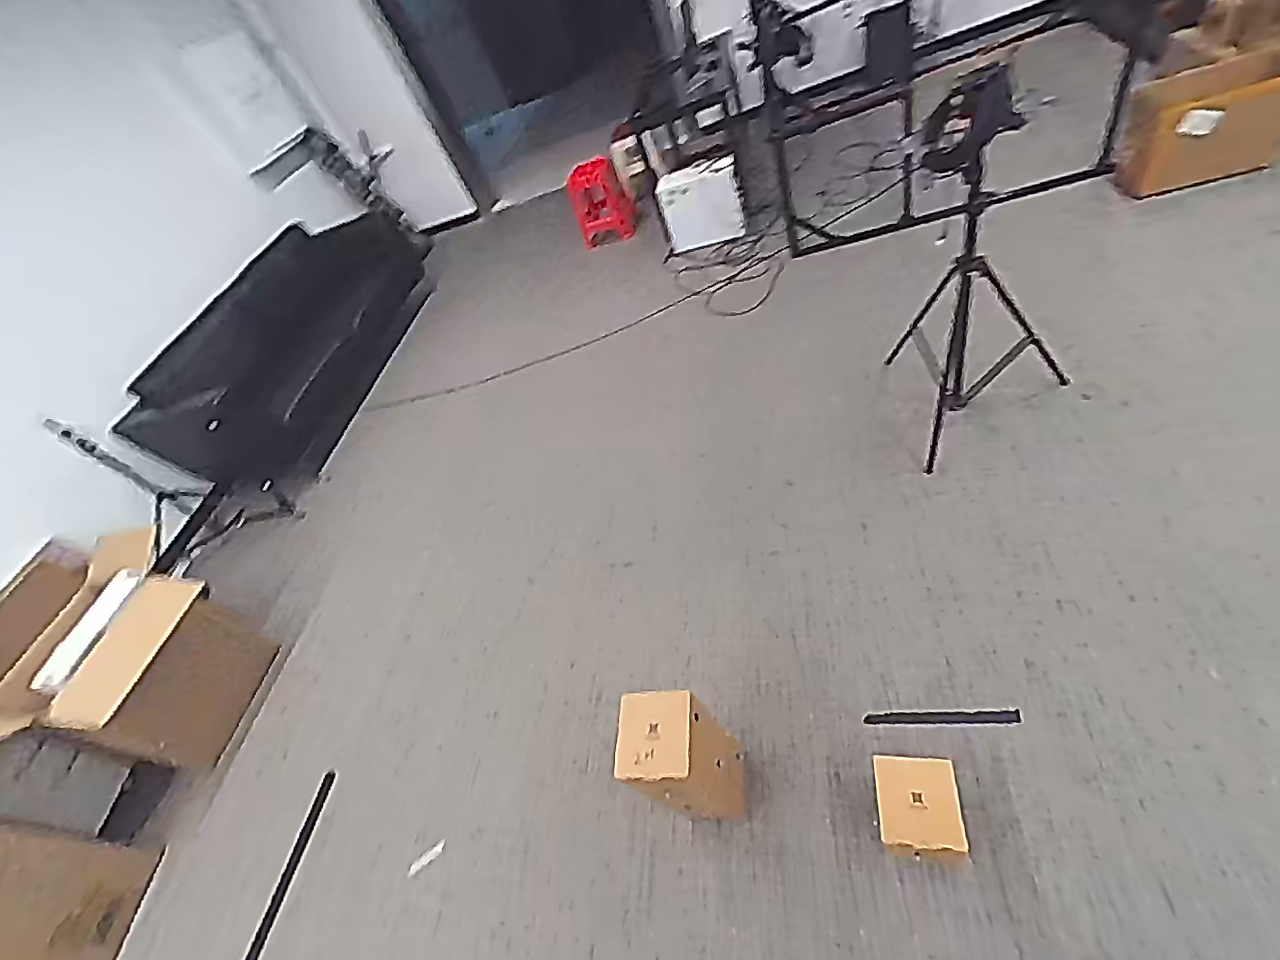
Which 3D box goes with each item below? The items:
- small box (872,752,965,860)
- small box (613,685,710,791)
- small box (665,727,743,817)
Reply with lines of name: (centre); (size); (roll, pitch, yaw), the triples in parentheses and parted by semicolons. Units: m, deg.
small box: (0.628, 0.746, 1.239); (0.168, 0.176, 0.179); (-7, 49, 21)
small box: (0.055, 0.576, 1.206); (0.168, 0.176, 0.179); (-11, 48, 20)
small box: (0.175, 0.776, 1.436); (0.168, 0.176, 0.179); (-11, 47, 19)
